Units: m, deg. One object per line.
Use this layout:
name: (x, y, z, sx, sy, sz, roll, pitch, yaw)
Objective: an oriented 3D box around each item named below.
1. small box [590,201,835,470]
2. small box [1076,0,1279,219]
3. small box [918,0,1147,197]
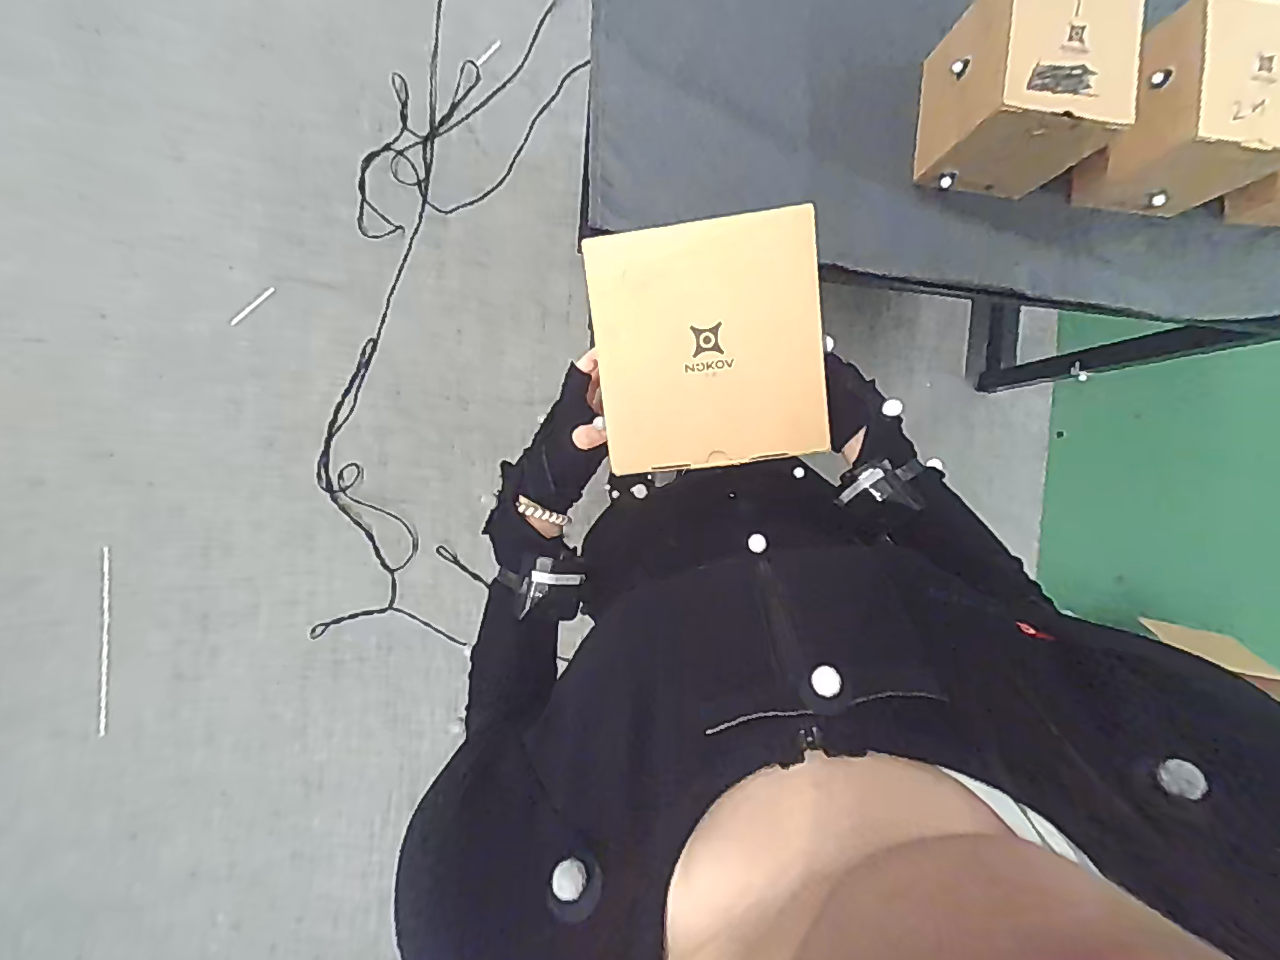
small box: (0.058, -0.112, 0.470, 0.168, 0.176, 0.179, -7, 99, 5)
small box: (0.724, -0.478, 0.714, 0.168, 0.176, 0.179, 3, 91, -5)
small box: (0.483, -0.493, 0.690, 0.168, 0.176, 0.179, 5, 90, -6)
